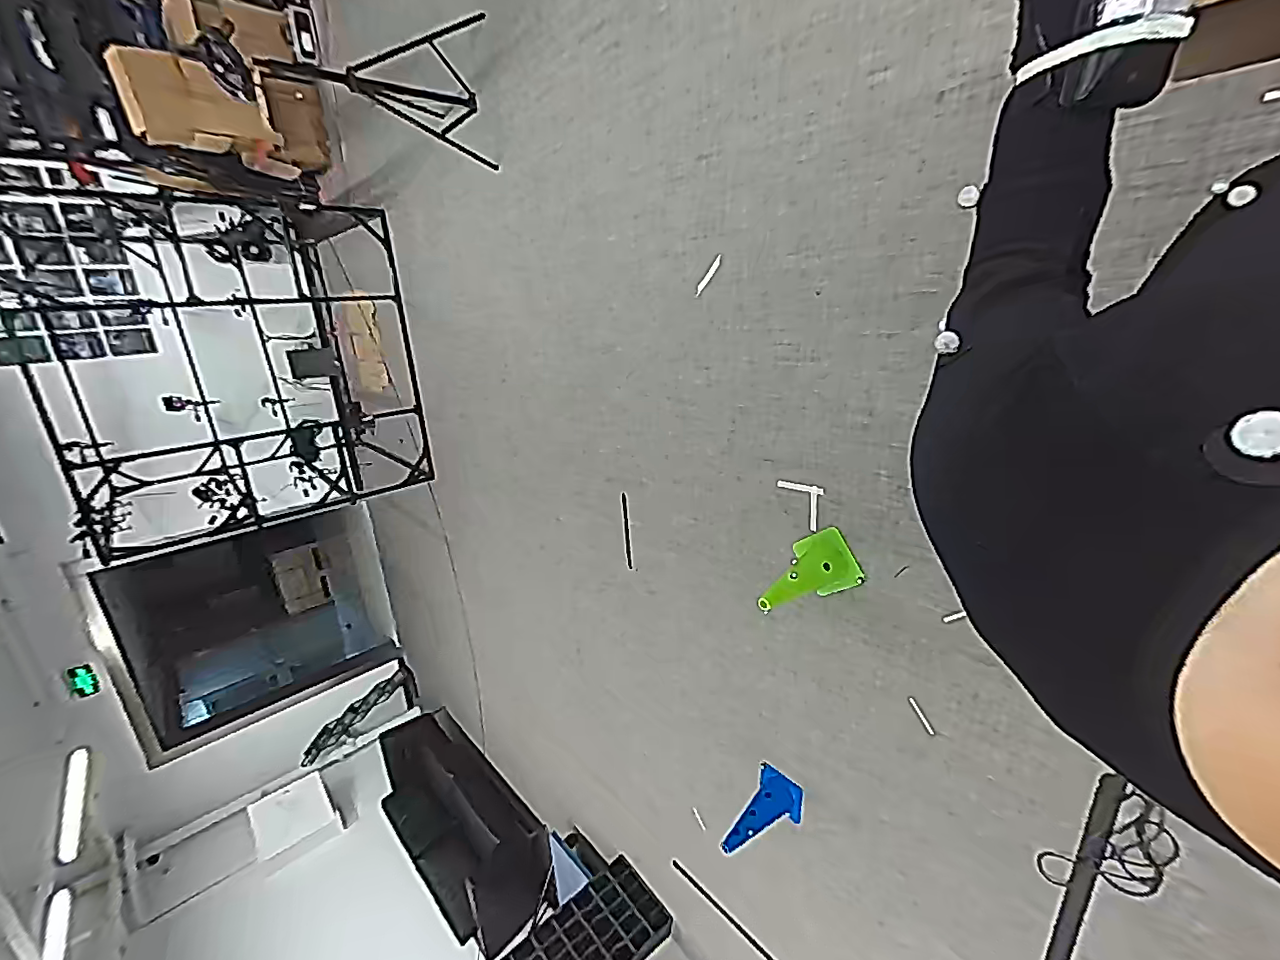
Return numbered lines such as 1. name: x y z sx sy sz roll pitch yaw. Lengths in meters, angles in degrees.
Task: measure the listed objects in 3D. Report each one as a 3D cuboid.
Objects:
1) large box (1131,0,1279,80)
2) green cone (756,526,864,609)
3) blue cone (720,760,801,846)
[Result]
1. large box: 0.540 -0.460 0.260 0.408 0.320 0.320 13 119 44
2. green cone: 0.491 0.308 1.683 0.202 0.368 0.200 -41 72 51
3. blue cone: 0.467 1.333 2.162 0.192 0.380 0.193 22 120 45
